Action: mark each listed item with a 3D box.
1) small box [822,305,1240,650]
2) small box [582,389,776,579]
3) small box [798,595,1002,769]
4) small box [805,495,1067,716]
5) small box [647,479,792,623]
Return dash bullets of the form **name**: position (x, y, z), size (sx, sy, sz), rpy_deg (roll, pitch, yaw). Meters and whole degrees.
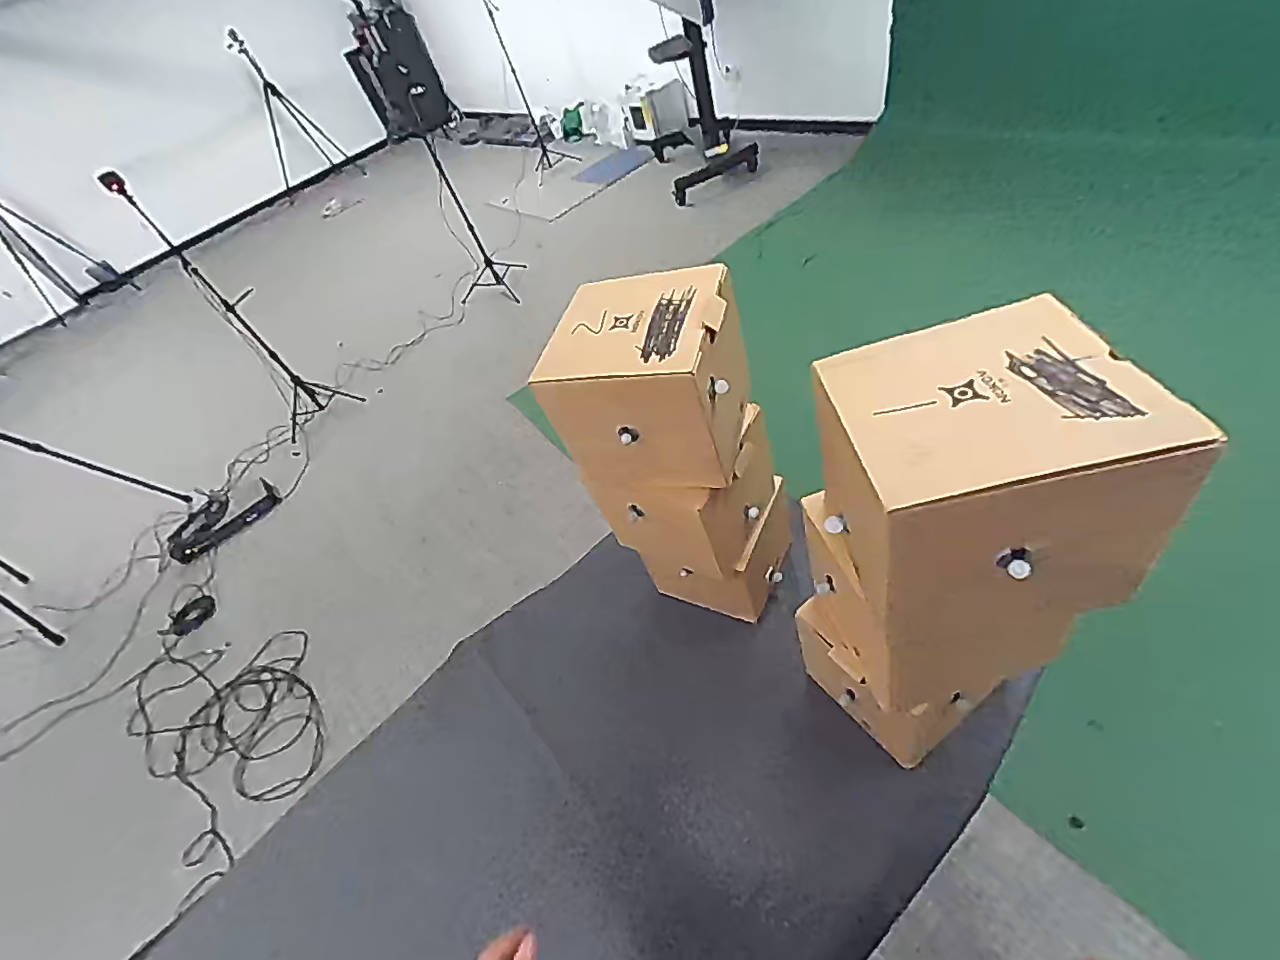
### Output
- **small box**: position (0.248, 0.005, 0.402), size (0.179, 0.176, 0.168), rpy_deg (-14, 43, 11)
- **small box**: position (0.061, 0.007, 0.710), size (0.179, 0.176, 0.168), rpy_deg (16, 60, 32)
- **small box**: position (0.321, 0.208, 0.652), size (0.179, 0.176, 0.168), rpy_deg (-36, 44, -11)
- **small box**: position (0.284, 0.104, 0.531), size (0.179, 0.176, 0.168), rpy_deg (-20, 42, 3)
- **small box**: position (0.123, 0.097, 0.835), size (0.179, 0.176, 0.168), rpy_deg (13, 58, 28)
